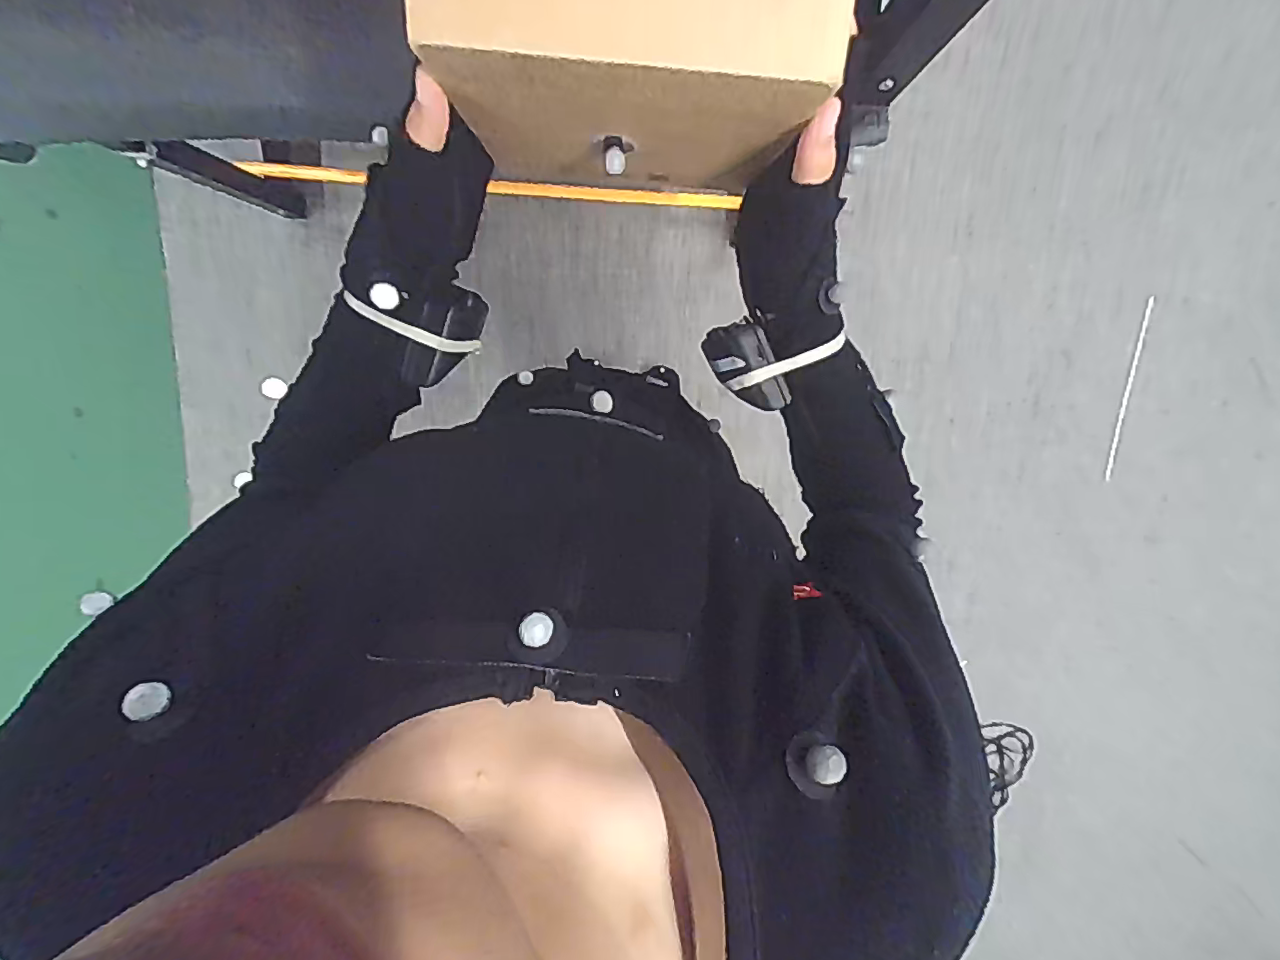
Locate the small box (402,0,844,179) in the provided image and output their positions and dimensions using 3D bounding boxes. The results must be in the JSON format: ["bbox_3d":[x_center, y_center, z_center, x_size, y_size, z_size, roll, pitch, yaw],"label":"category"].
[{"bbox_3d":[-0.003,-0.263,0.257,0.168,0.176,0.179,3,105,-4],"label":"small box"}]
